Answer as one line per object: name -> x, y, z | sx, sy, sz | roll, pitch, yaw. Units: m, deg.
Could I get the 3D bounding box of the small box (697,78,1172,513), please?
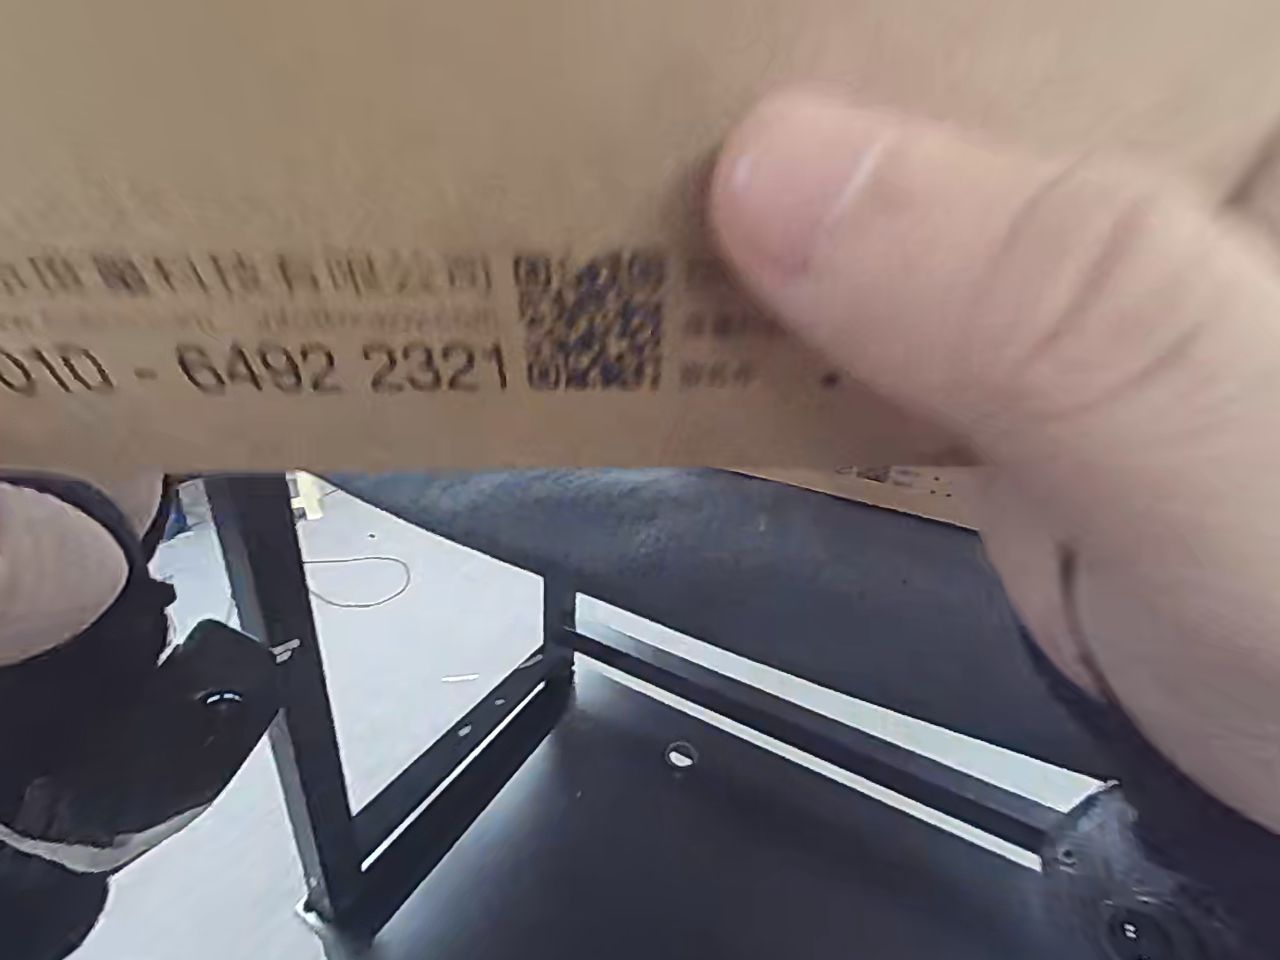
small box -> 0.142, -0.099, 0.314 | 0.168, 0.176, 0.179 | 15, 22, 25

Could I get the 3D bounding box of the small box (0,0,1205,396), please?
small box -> -0.028, -0.124, 0.081 | 0.168, 0.176, 0.179 | -1, 40, -3
